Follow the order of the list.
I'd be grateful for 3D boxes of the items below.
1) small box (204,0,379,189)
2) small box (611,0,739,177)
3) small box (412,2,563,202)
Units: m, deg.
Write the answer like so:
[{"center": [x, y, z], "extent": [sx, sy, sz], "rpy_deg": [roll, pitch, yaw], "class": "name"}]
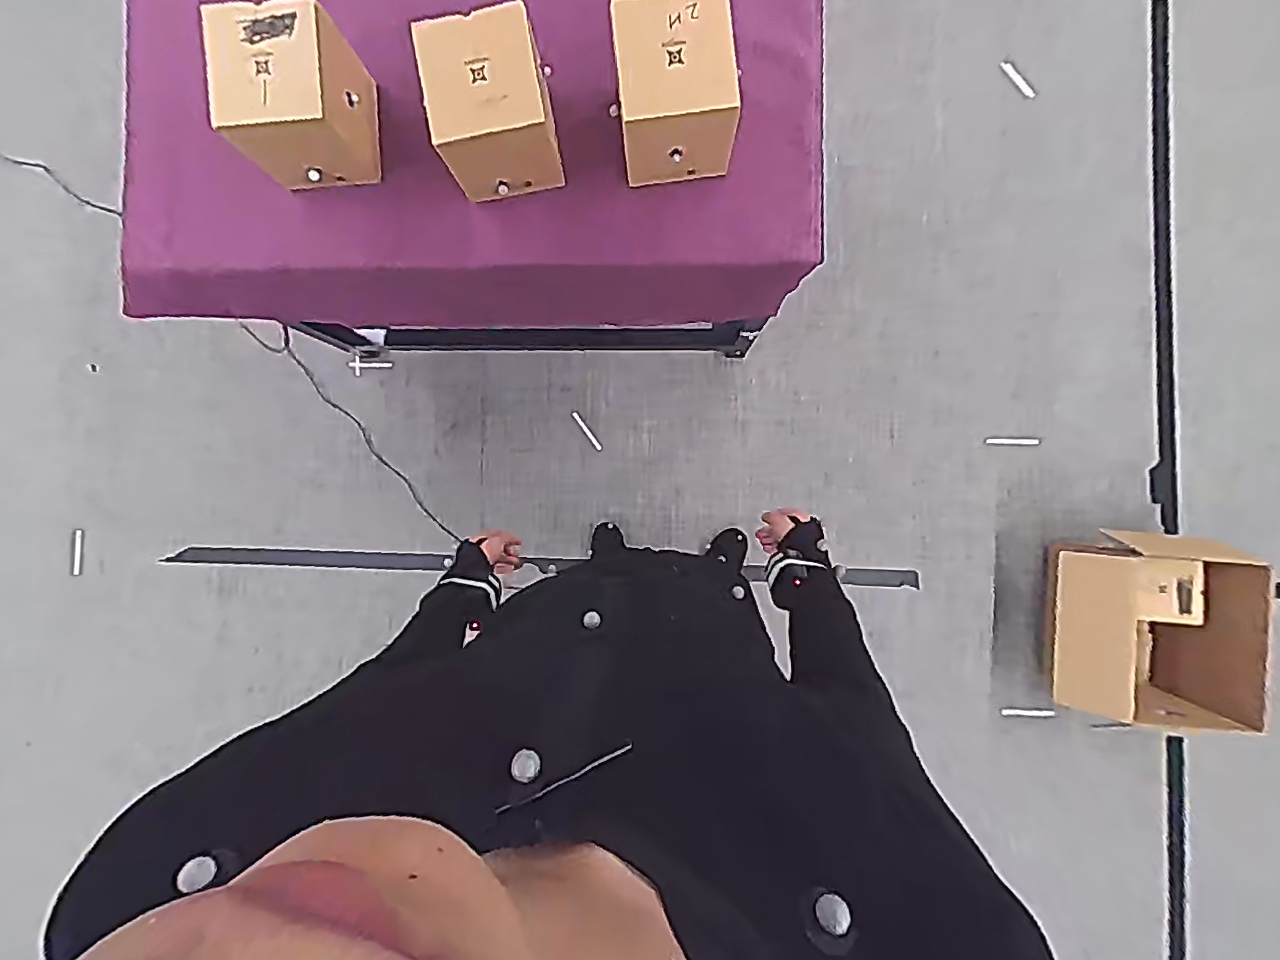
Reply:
[{"center": [-0.529, -0.587, 0.842], "extent": [0.168, 0.176, 0.179], "rpy_deg": [-4, 90, 2], "class": "small box"}, {"center": [0.052, -0.588, 0.821], "extent": [0.168, 0.176, 0.179], "rpy_deg": [-6, 89, 2], "class": "small box"}, {"center": [-0.224, -0.567, 0.833], "extent": [0.168, 0.176, 0.179], "rpy_deg": [-10, 89, 3], "class": "small box"}]
